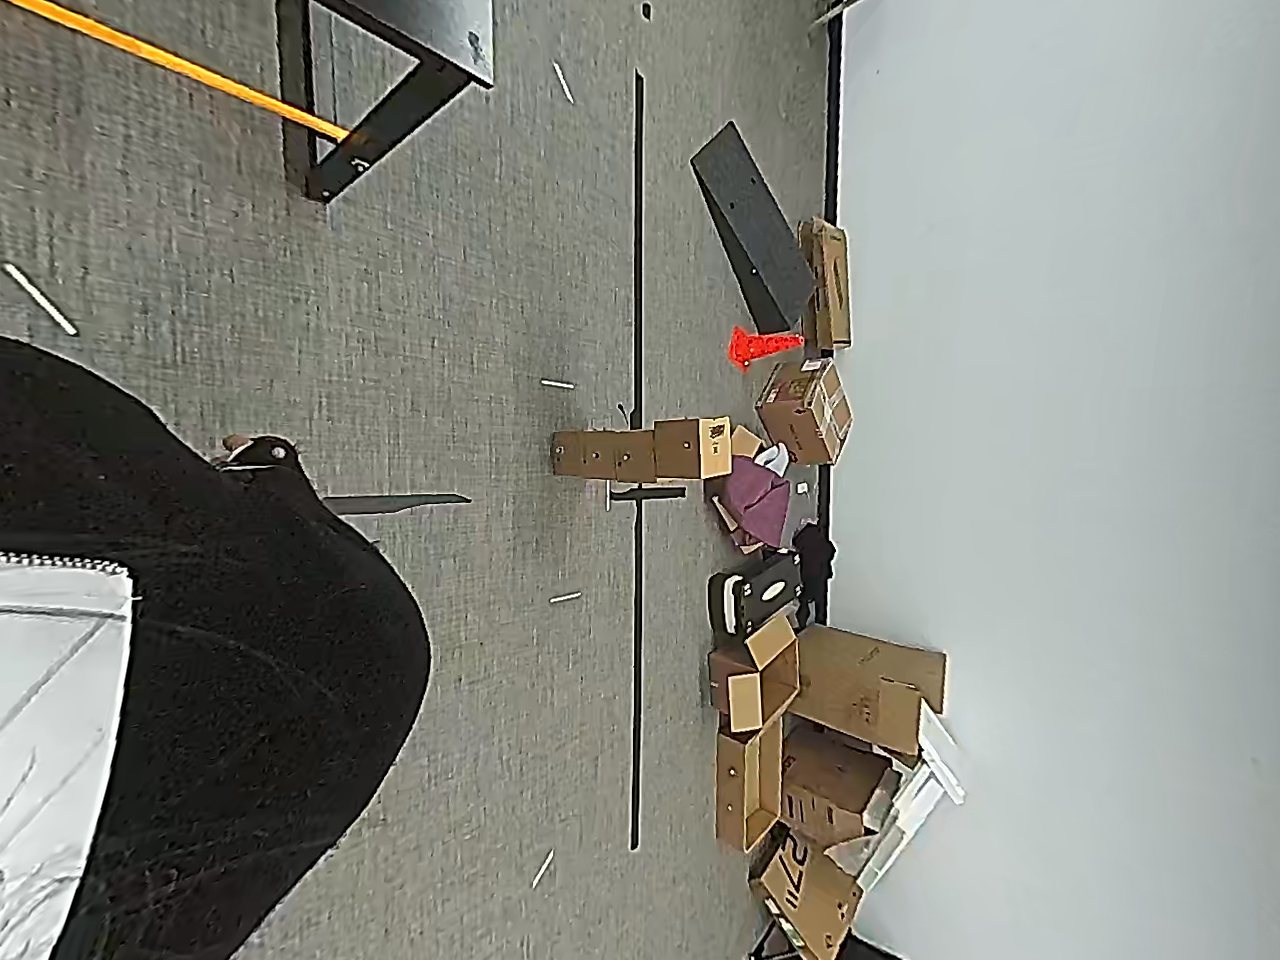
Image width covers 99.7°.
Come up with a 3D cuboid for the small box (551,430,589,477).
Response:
[{"bbox_3d":[-0.209,-0.100,1.986,0.179,0.176,0.168,-5,95,-48],"label":"small box"}]

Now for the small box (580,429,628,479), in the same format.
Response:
[{"bbox_3d":[-0.096,-0.089,1.866,0.179,0.176,0.168,-4,95,-49],"label":"small box"}]

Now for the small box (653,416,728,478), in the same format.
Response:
[{"bbox_3d":[0.152,-0.101,1.648,0.168,0.176,0.179,-10,99,-49],"label":"small box"}]

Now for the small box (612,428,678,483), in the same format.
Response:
[{"bbox_3d":[0.029,-0.085,1.757,0.179,0.176,0.168,-12,100,-48],"label":"small box"}]
